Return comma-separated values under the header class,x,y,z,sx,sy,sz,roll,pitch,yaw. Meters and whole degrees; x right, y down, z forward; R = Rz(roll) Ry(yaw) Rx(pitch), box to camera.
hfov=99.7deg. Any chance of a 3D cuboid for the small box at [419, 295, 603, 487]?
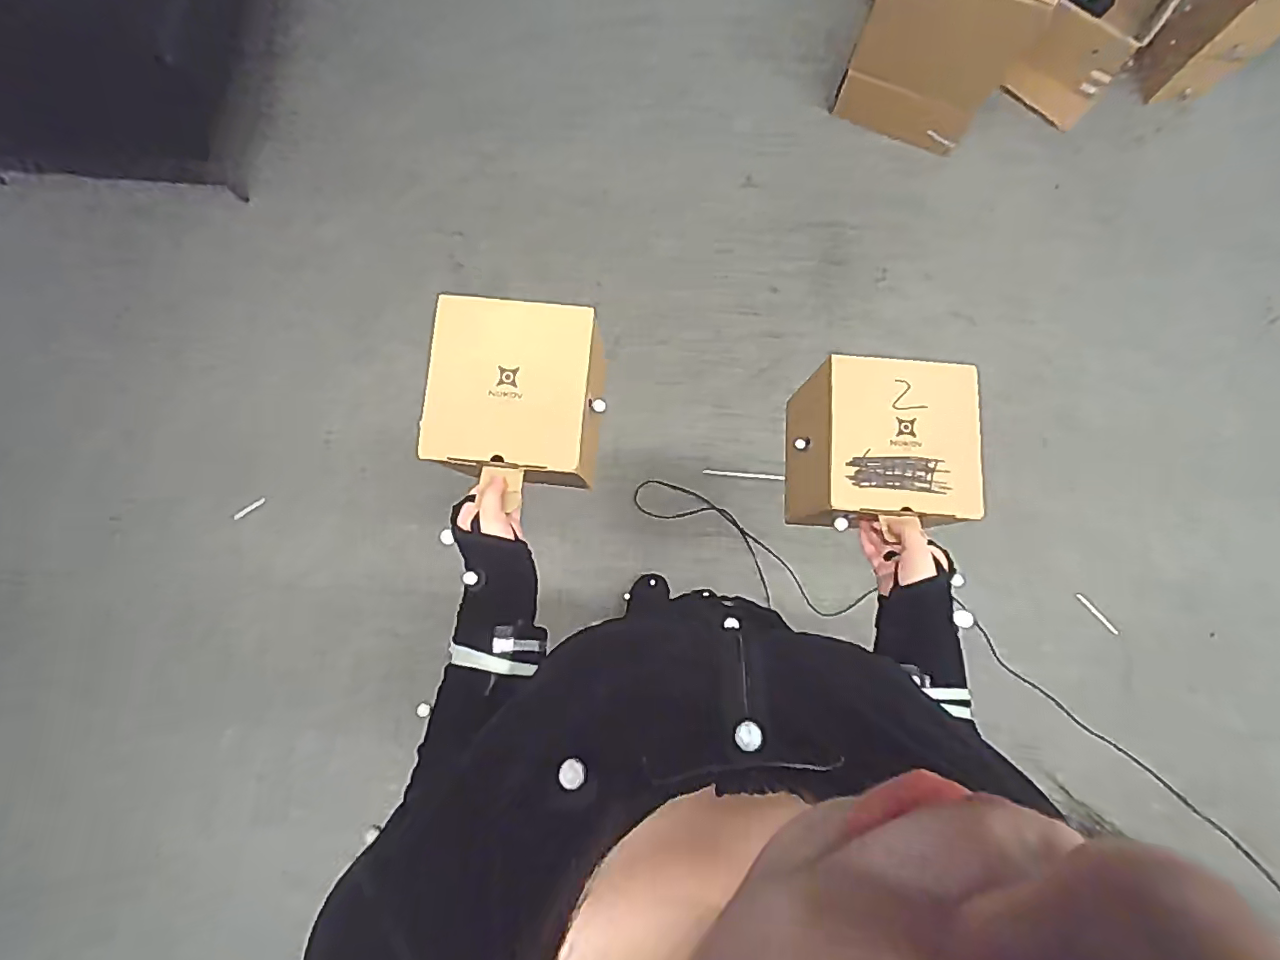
class,x,y,z,sx,sy,sz,roll,pitch,yaw
small box,-0.135,-0.091,0.633,0.168,0.176,0.179,6,85,0
